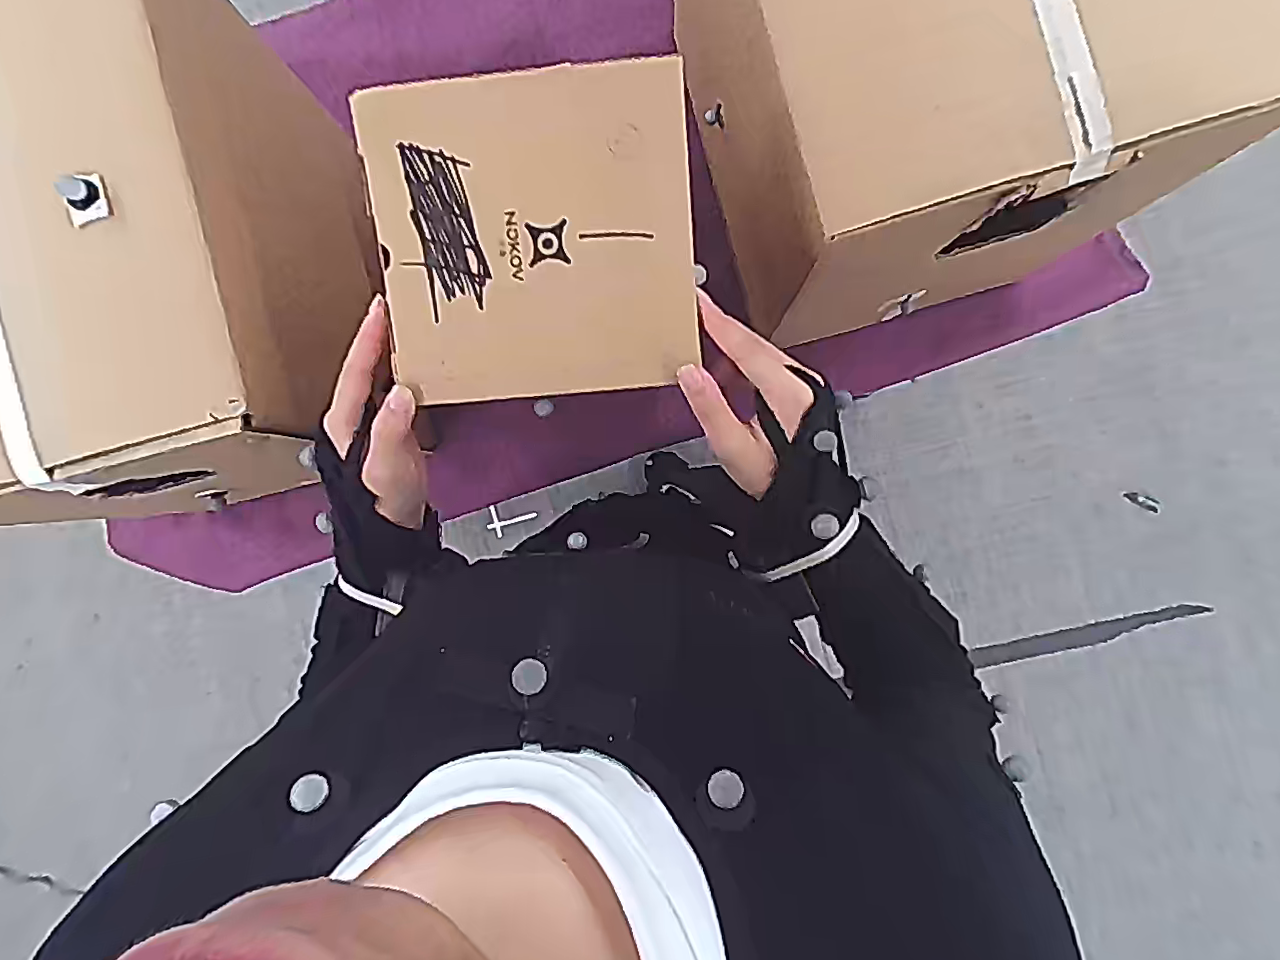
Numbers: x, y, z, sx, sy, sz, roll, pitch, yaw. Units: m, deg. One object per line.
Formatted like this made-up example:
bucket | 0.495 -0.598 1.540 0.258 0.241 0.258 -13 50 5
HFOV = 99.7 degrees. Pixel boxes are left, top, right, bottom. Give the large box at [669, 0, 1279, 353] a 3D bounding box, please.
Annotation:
large box | 0.221 -0.378 0.477 0.320 0.320 0.408 -16 88 3

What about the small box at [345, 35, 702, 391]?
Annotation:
small box | -0.056 -0.148 0.361 0.179 0.176 0.168 -5 101 1
